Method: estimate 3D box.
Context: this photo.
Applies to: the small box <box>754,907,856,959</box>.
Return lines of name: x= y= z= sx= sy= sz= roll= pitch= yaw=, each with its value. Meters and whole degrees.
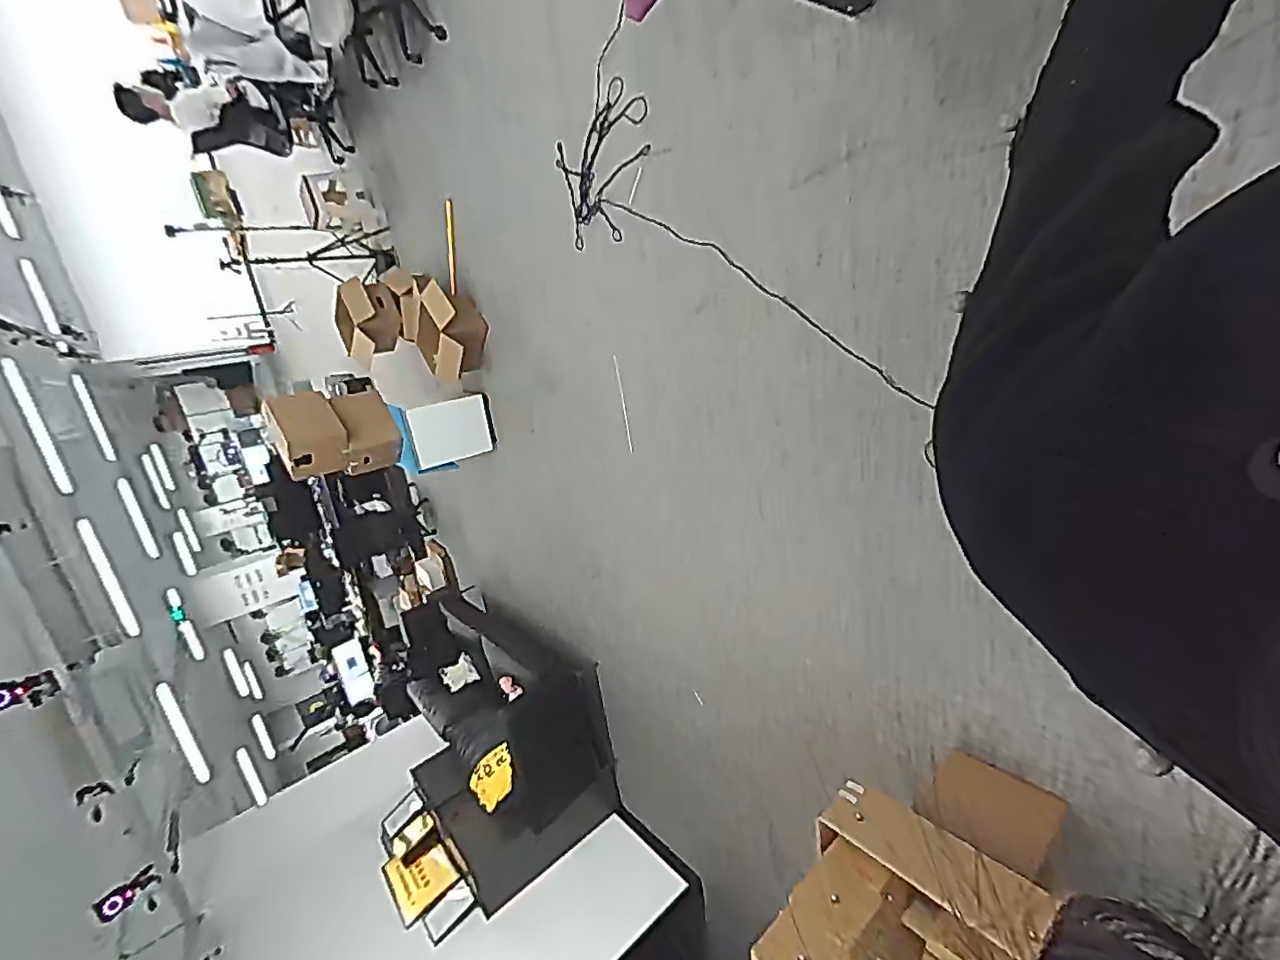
small box: x=0.397 y=1.195 z=1.312 sx=0.179 sy=0.176 sz=0.168 roll=17 pitch=120 yaw=48
